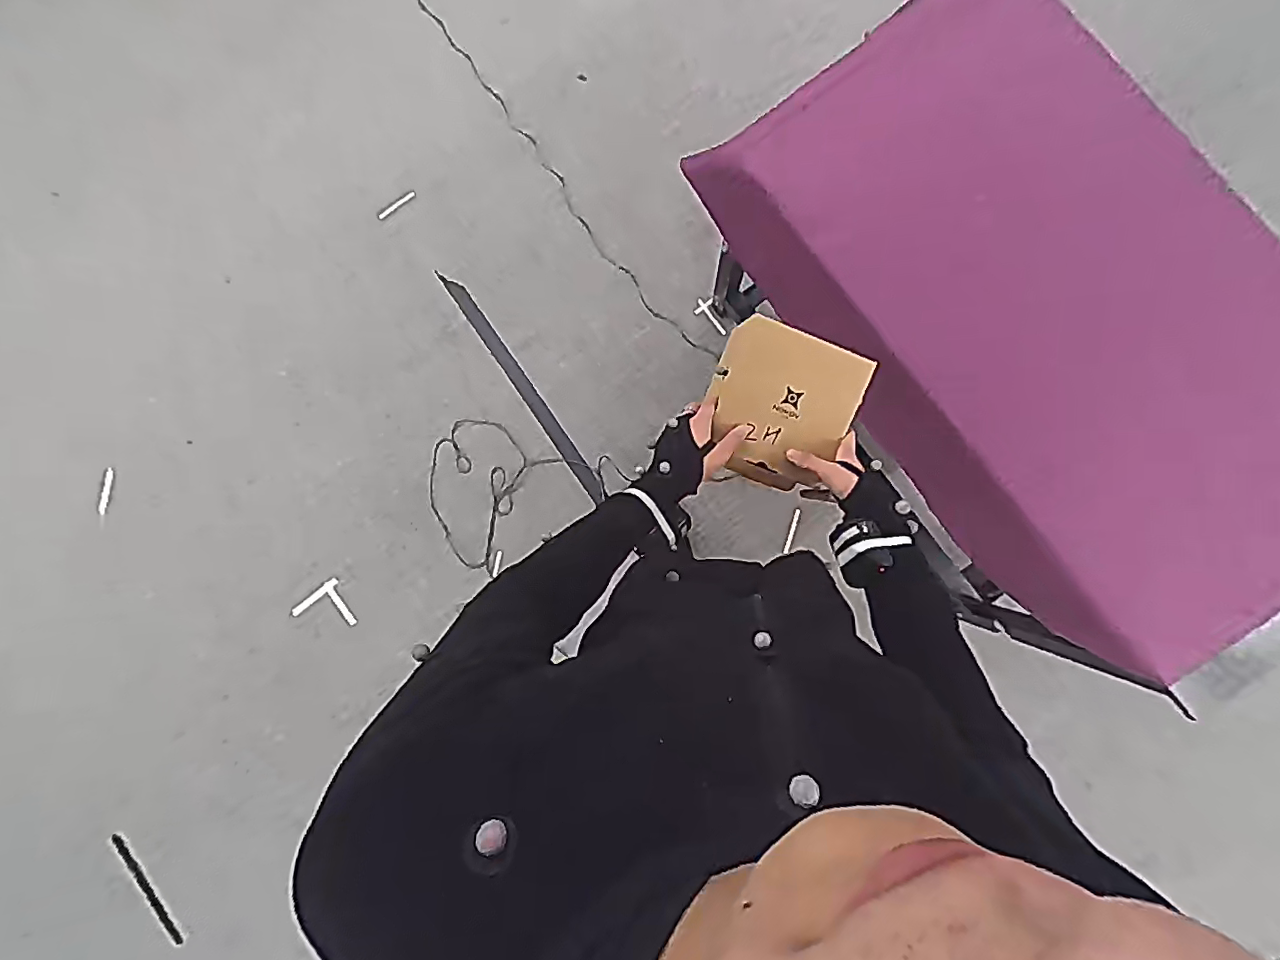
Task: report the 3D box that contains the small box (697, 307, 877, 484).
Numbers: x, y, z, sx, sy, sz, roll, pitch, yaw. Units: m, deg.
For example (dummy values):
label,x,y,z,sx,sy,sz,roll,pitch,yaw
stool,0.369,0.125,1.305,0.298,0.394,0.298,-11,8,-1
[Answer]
label,x,y,z,sx,sy,sz,roll,pitch,yaw
small box,0.187,-0.115,0.752,0.168,0.176,0.179,22,98,-3
